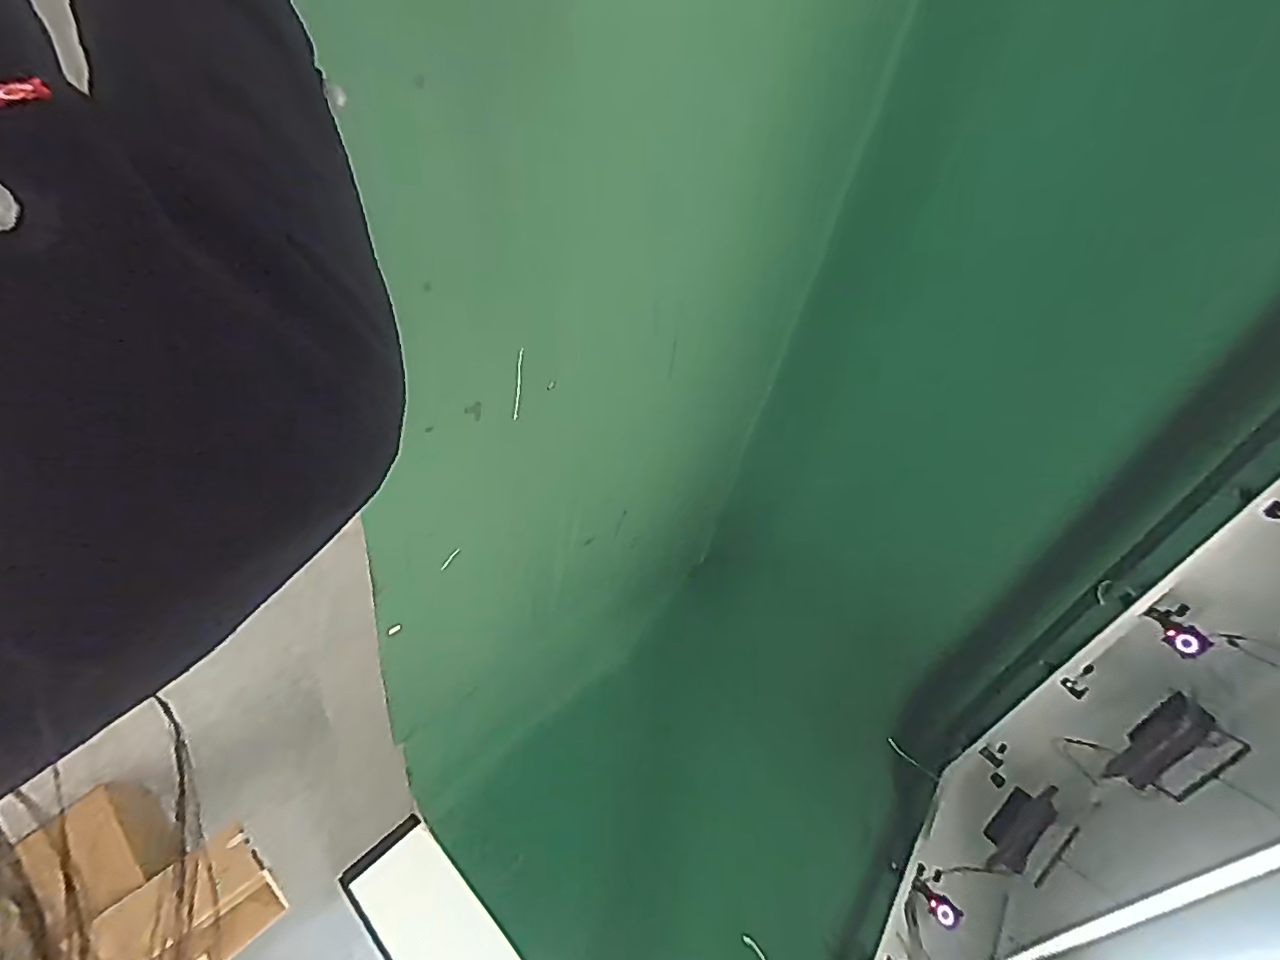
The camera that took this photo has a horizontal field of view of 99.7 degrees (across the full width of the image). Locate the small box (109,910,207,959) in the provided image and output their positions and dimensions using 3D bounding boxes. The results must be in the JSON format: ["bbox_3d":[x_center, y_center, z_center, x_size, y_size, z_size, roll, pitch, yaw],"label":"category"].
[{"bbox_3d":[-1.332,1.359,1.505,0.168,0.176,0.179,-24,142,-49],"label":"small box"}]
